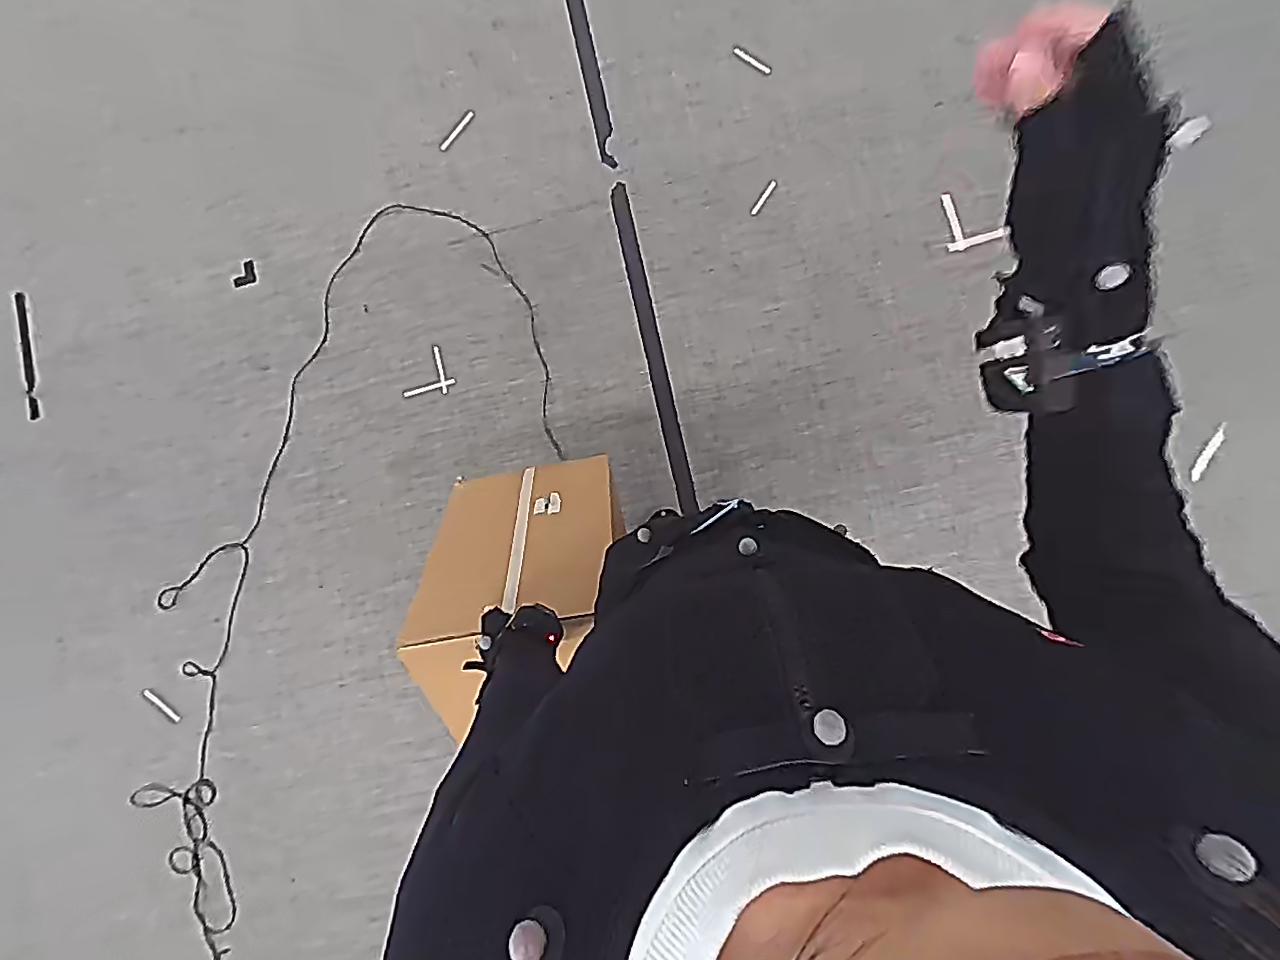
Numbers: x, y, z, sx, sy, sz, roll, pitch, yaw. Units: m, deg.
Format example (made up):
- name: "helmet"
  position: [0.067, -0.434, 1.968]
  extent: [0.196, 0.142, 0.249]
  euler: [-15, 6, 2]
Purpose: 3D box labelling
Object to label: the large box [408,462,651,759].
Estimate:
- name: "large box"
  position: [-0.171, 0.221, 0.997]
  extent: [0.320, 0.408, 0.320]
  euler: [-9, 124, 1]
